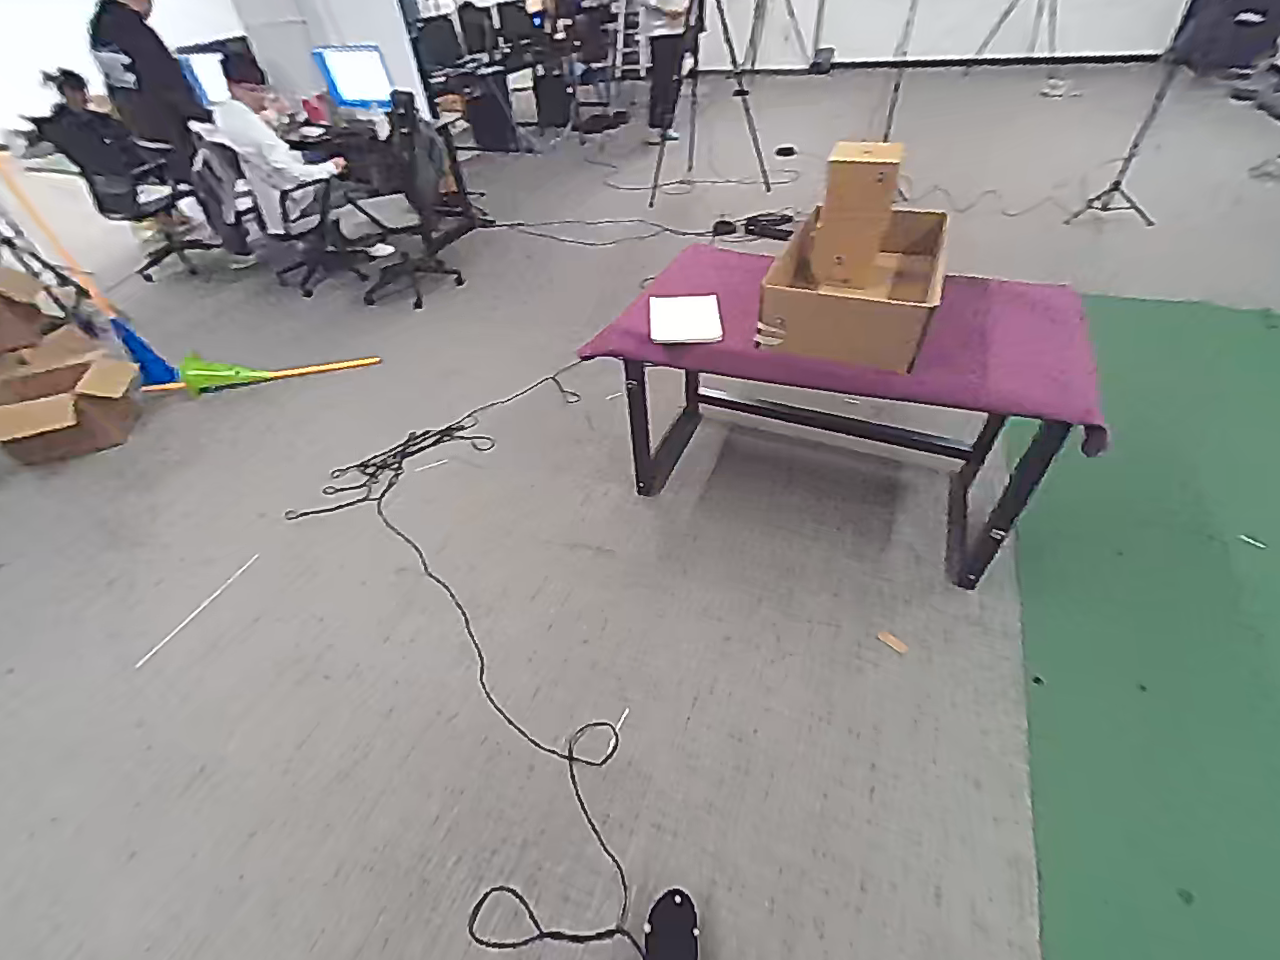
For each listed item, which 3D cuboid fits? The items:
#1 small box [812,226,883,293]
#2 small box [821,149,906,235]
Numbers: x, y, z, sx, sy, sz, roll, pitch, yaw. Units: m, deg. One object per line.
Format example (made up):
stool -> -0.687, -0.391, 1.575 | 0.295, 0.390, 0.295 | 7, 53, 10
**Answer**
small box -> 0.607, -0.665, 1.577 | 0.168, 0.176, 0.179 | 16, 49, 21
small box -> 0.598, -0.776, 1.460 | 0.179, 0.176, 0.168 | 14, 48, 19
